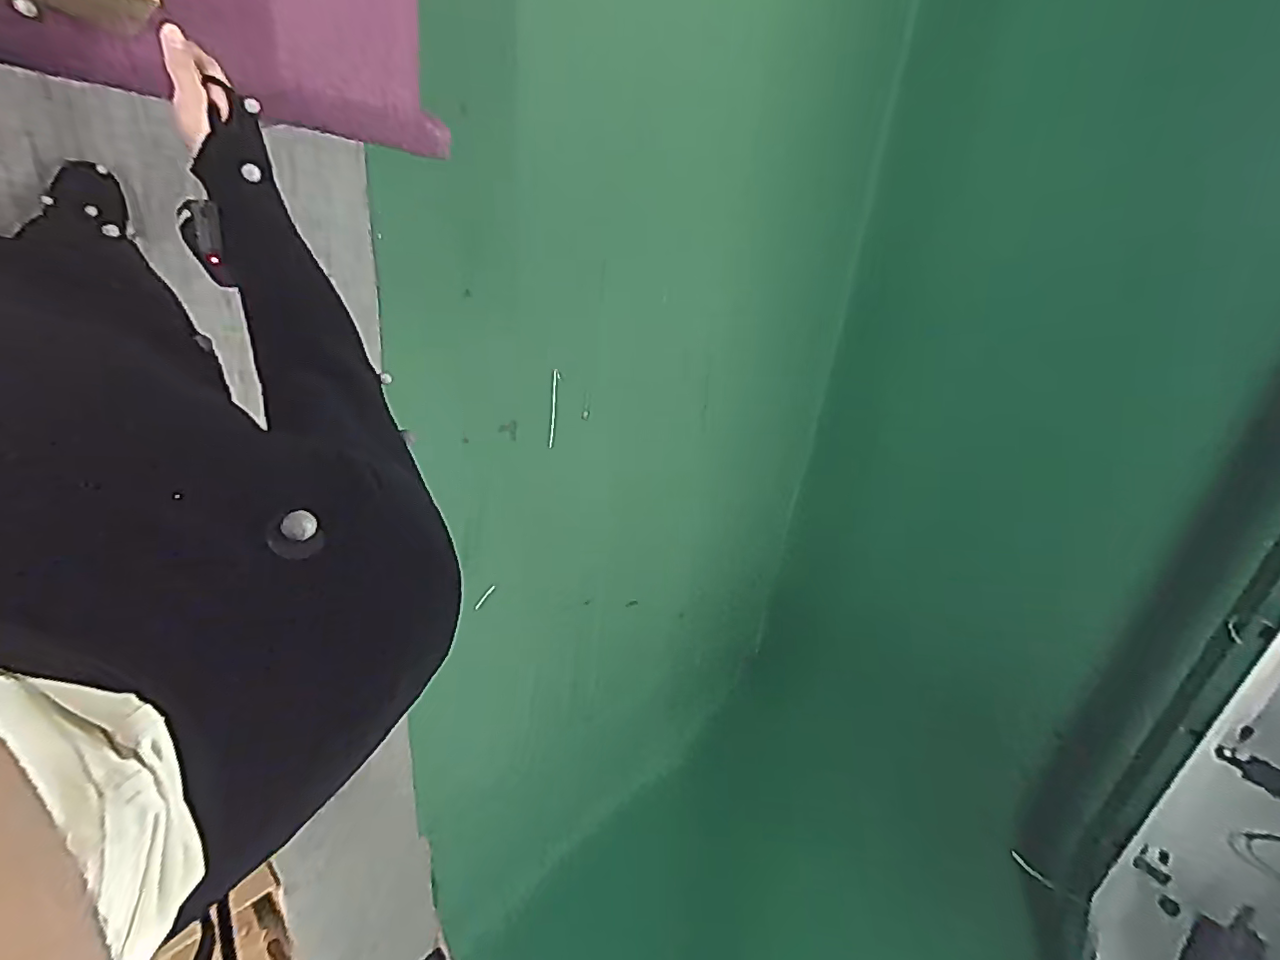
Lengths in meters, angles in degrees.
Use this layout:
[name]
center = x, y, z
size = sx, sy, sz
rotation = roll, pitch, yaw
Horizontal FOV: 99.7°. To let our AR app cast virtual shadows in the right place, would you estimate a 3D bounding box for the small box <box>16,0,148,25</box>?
[small box]
center = -0.537, -0.518, 0.439
size = 0.168, 0.176, 0.179
rotation = -16, 121, -45
